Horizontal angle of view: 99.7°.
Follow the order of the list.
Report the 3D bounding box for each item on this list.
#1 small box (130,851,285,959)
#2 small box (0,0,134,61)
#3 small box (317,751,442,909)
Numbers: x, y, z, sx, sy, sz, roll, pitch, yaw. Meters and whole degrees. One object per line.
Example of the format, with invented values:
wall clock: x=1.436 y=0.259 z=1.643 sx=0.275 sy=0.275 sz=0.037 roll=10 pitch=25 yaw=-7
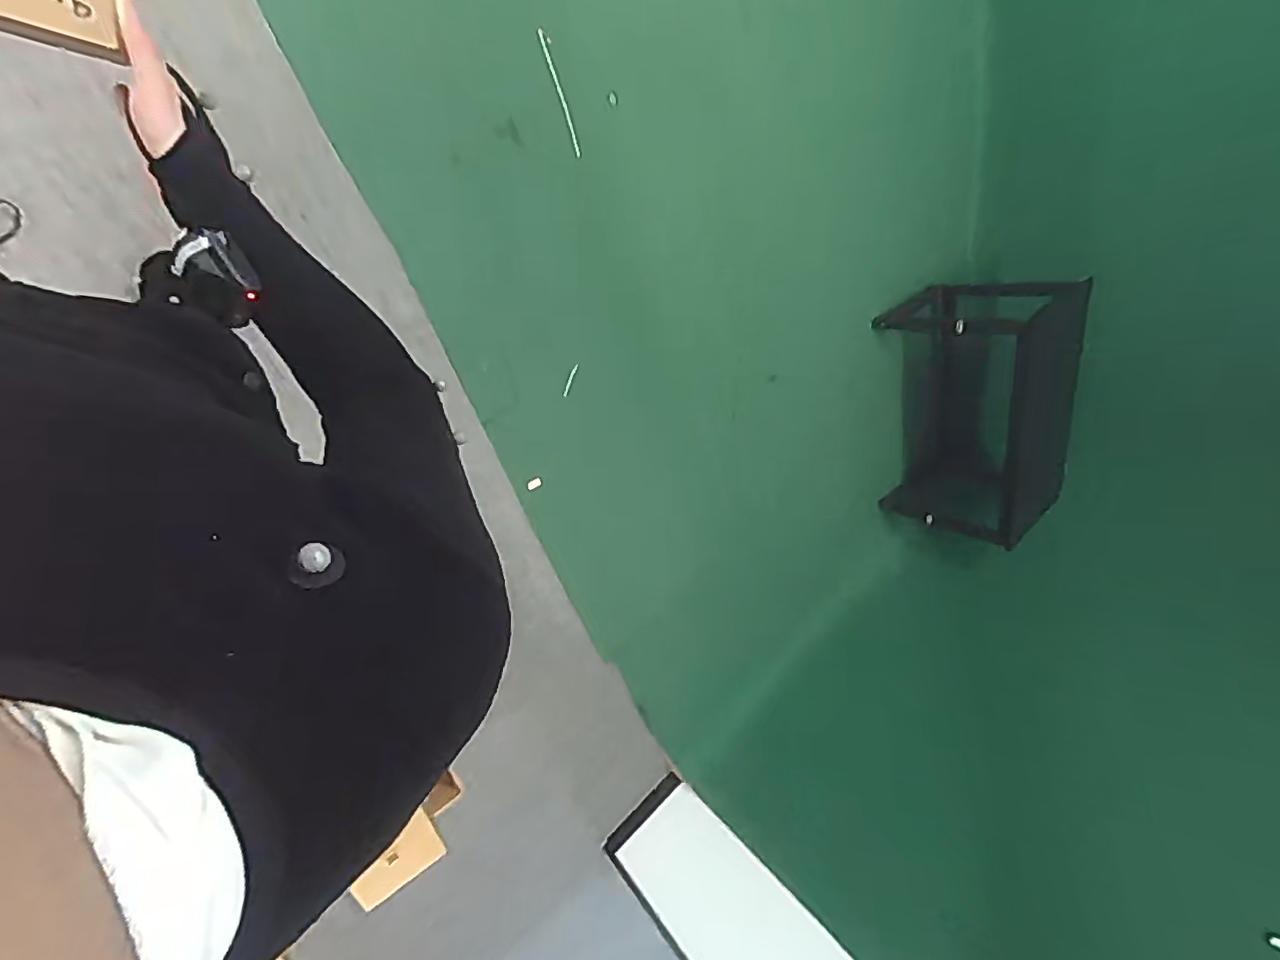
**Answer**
small box: x=-0.762 y=0.820 z=0.964 sx=0.168 sy=0.176 sz=0.179 roll=-28 pitch=120 yaw=-29
small box: x=-0.480 y=-0.431 z=0.380 sx=0.168 sy=0.176 sz=0.179 roll=-7 pitch=122 yaw=-38
small box: x=-0.532 y=0.703 z=1.105 sx=0.168 sy=0.176 sz=0.179 roll=-27 pitch=120 yaw=-28
